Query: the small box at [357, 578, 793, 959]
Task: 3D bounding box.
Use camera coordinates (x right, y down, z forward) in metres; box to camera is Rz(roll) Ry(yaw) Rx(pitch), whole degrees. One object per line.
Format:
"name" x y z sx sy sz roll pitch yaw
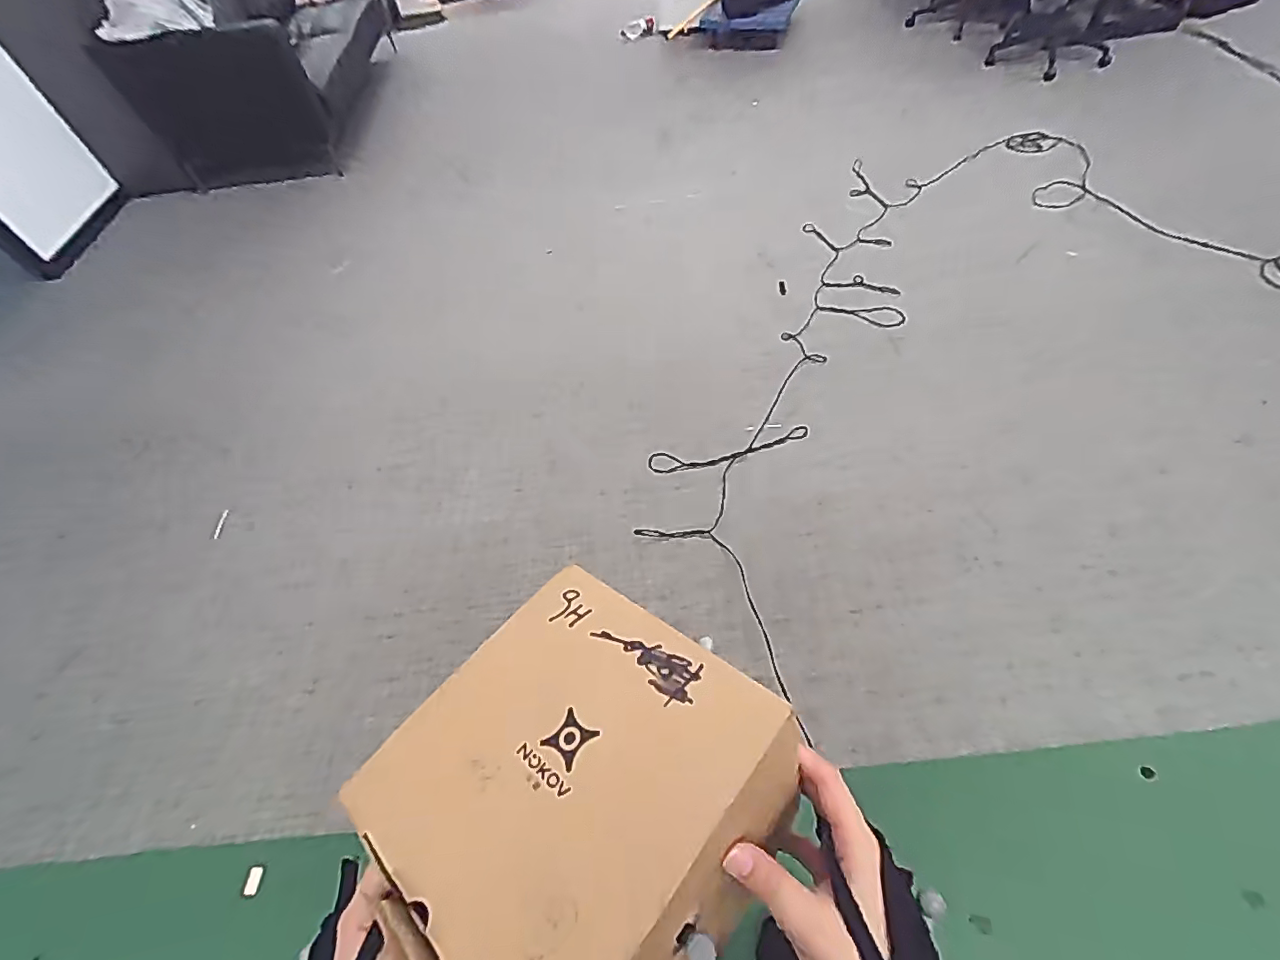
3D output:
"small box" -0.019 0.201 0.328 0.168 0.176 0.179 24 57 36
